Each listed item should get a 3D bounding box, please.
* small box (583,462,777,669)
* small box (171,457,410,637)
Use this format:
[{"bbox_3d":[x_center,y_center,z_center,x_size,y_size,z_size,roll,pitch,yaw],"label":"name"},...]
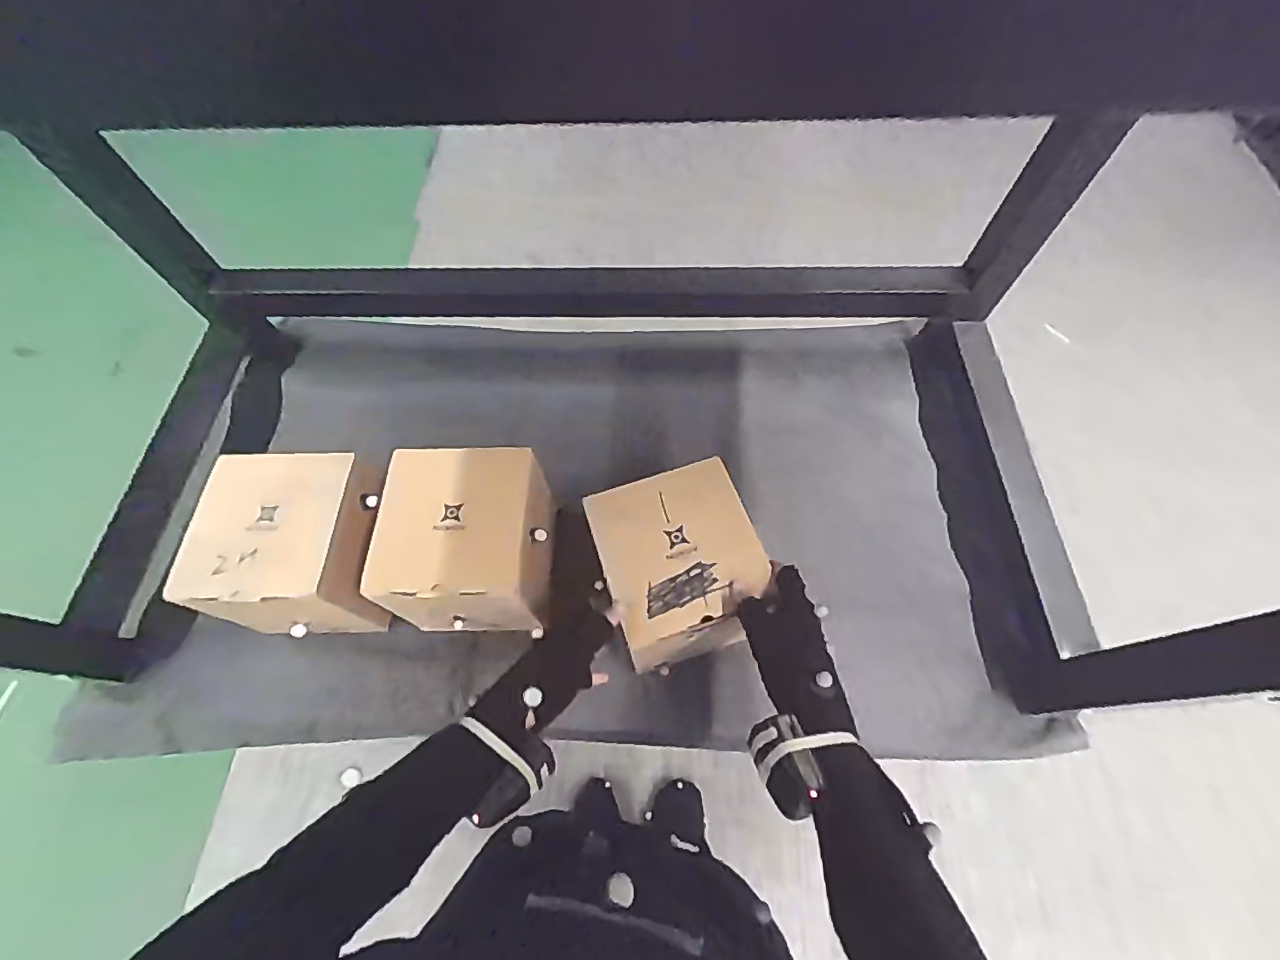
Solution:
[{"bbox_3d":[0.043,0.111,0.642,0.168,0.176,0.179,-17,61,-6],"label":"small box"},{"bbox_3d":[-0.407,0.088,0.671,0.168,0.176,0.179,-1,62,2],"label":"small box"}]
